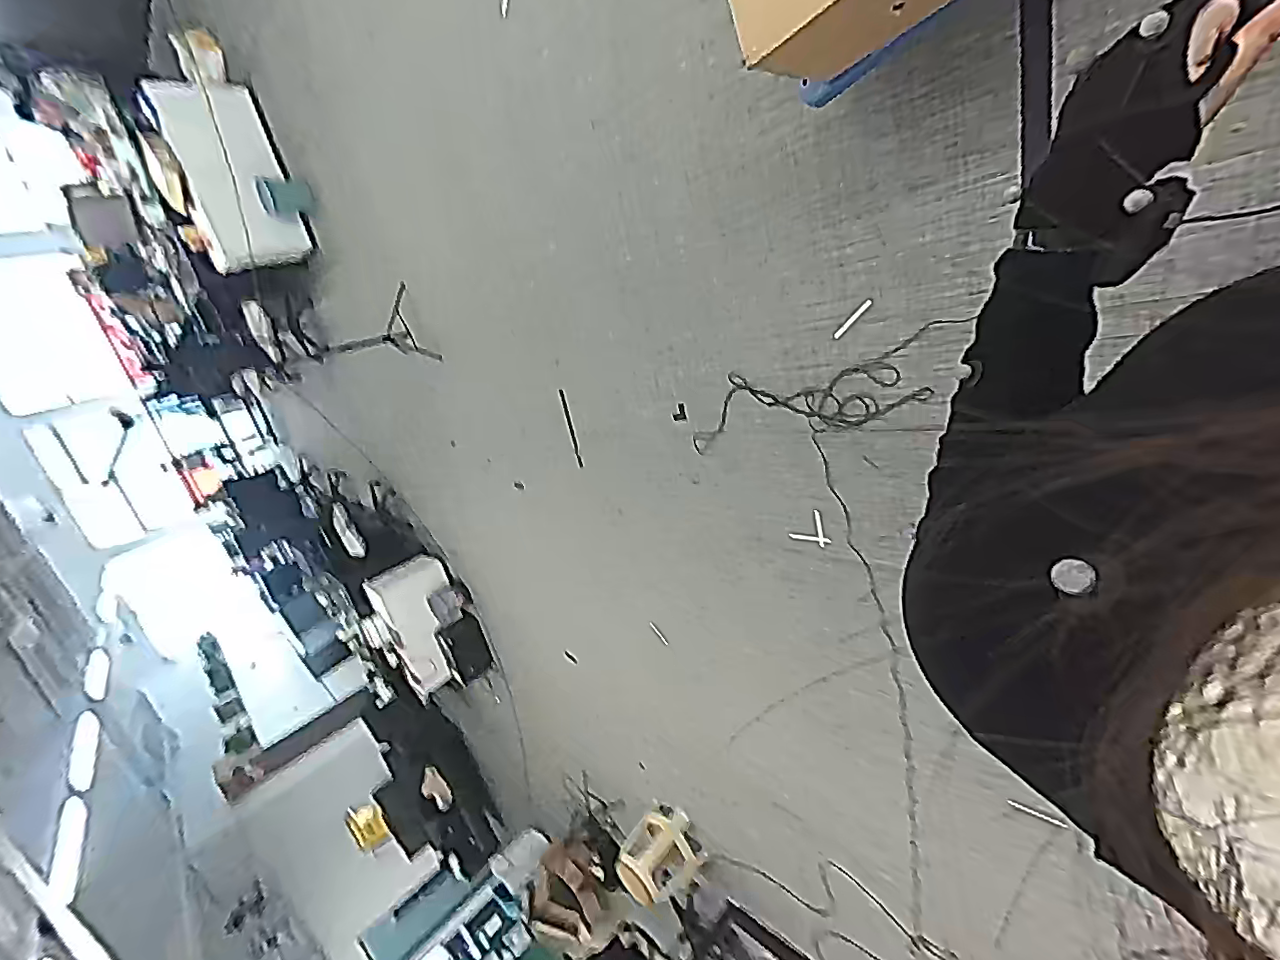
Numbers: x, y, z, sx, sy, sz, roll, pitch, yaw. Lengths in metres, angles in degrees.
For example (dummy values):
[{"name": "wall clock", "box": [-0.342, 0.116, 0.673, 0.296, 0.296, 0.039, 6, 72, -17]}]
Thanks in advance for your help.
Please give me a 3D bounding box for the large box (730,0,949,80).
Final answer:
[{"name": "large box", "box": [0.375, -0.927, 0.859, 0.408, 0.320, 0.320, -5, 108, 49]}]
